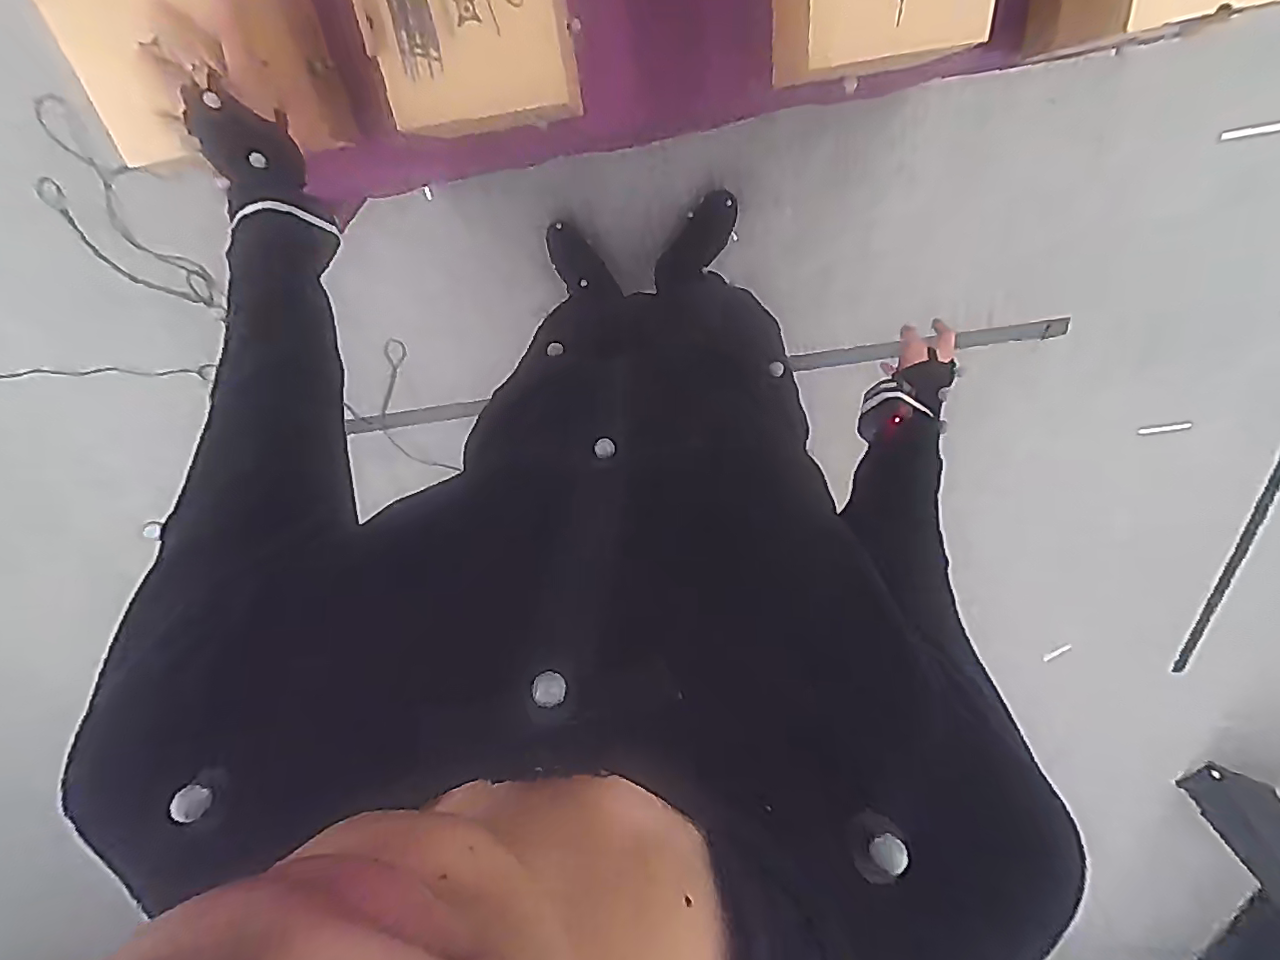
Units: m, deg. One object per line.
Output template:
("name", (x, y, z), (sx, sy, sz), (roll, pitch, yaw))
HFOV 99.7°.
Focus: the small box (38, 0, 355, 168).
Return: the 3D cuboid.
("small box", (-0.449, -0.438, 0.574), (0.179, 0.176, 0.168), (-8, 120, 4))
